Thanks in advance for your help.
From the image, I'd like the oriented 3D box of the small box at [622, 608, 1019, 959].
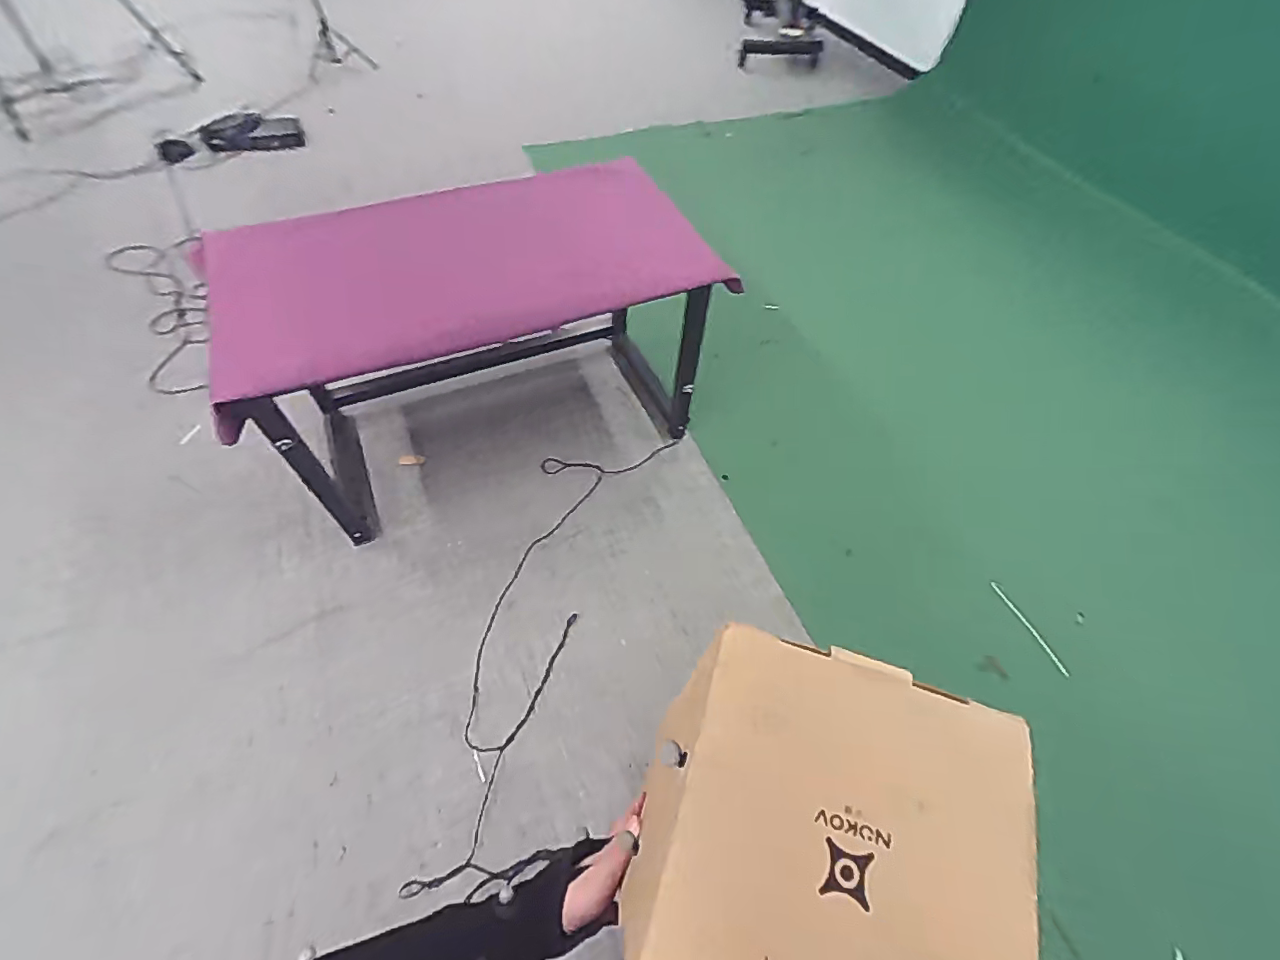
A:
[{"bbox_3d":[0.090,0.205,0.325,0.168,0.176,0.179,16,62,8],"label":"small box"}]
